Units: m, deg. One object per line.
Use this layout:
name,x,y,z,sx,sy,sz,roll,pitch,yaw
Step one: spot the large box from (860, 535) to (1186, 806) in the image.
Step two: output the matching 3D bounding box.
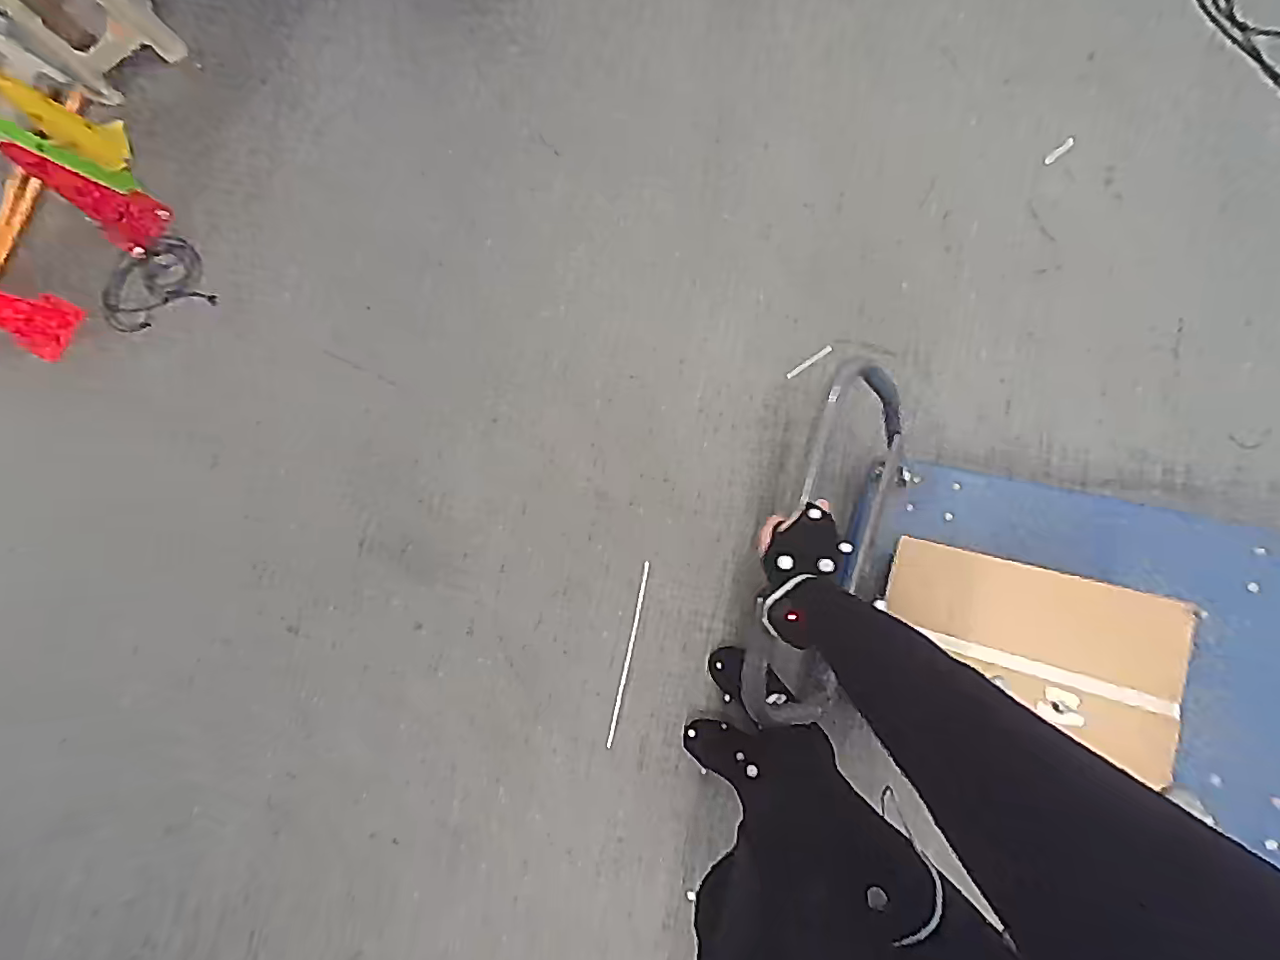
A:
large box,0.643,0.312,0.993,0.408,0.320,0.320,13,83,25
